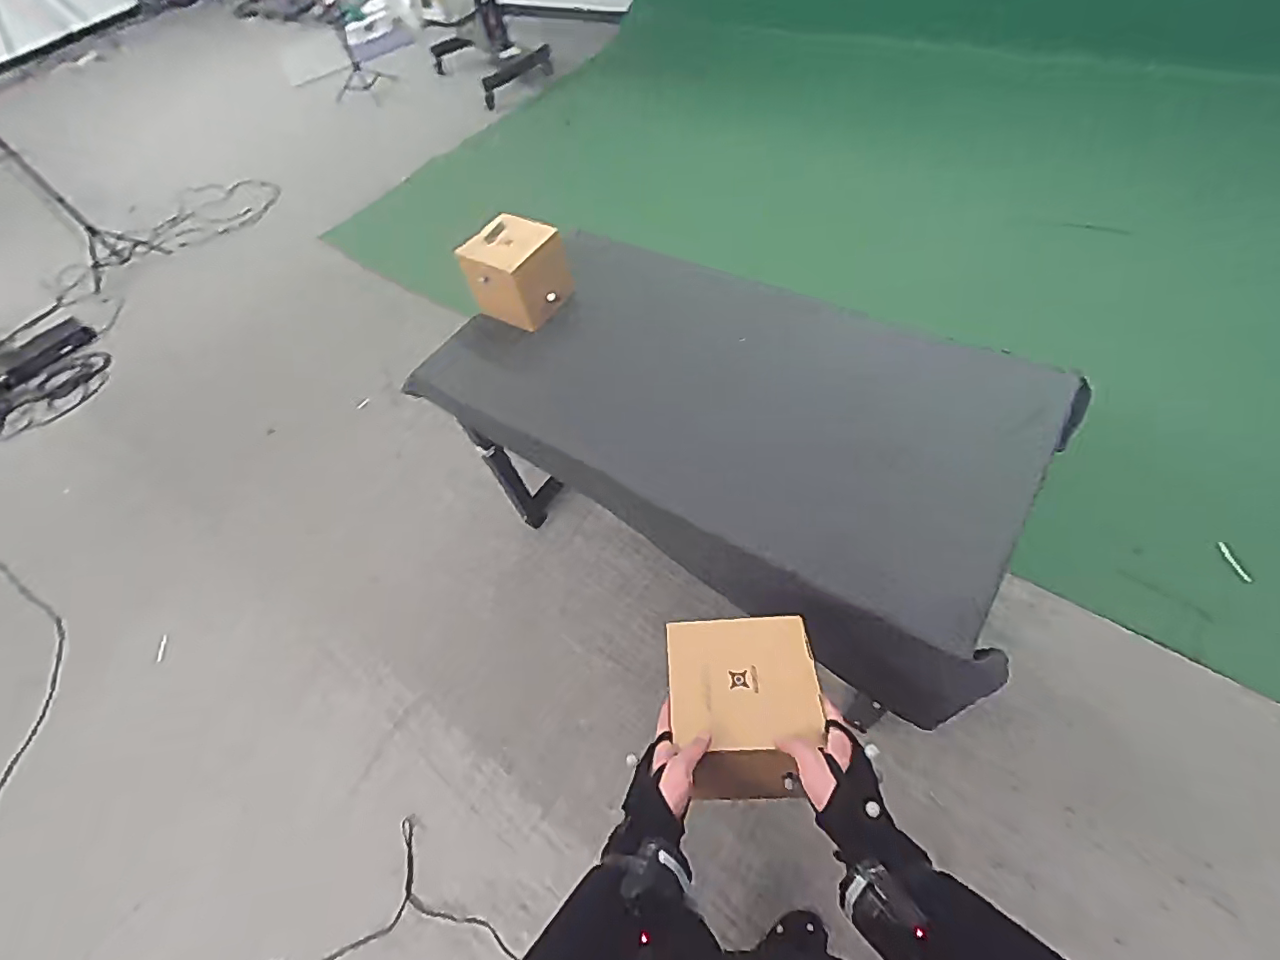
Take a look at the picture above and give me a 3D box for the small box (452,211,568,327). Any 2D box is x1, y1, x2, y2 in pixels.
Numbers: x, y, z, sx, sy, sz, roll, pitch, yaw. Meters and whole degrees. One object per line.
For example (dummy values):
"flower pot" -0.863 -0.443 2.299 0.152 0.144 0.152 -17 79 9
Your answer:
"small box" -0.290 -0.480 1.241 0.179 0.176 0.168 27 63 21

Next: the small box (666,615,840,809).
"small box" 0.127 0.291 0.676 0.179 0.176 0.168 -6 41 2
